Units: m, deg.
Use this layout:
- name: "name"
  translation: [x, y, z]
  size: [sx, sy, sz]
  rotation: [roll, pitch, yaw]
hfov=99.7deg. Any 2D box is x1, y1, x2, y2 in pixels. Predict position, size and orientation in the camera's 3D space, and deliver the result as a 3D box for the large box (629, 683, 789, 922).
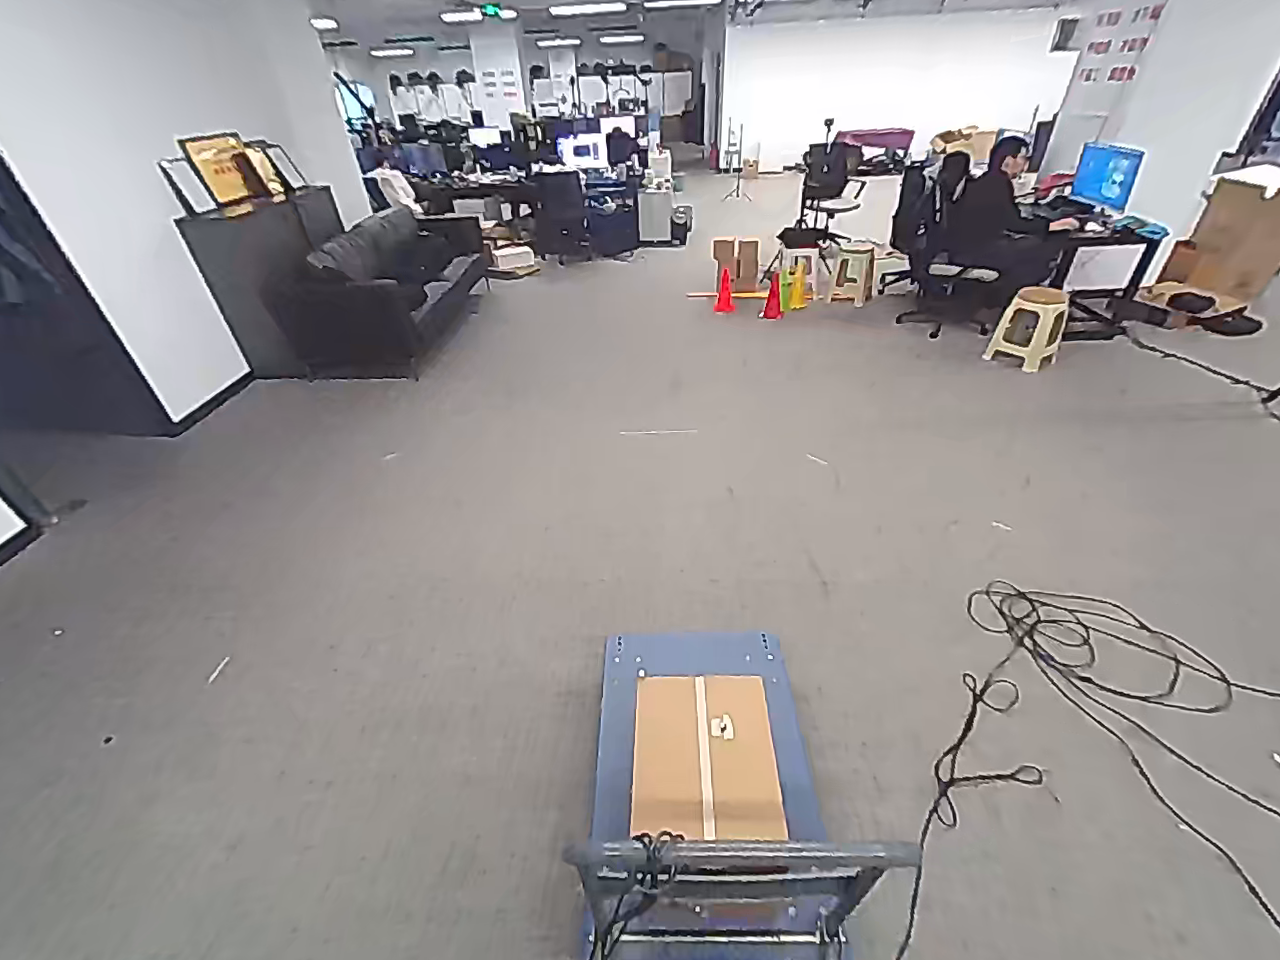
- name: "large box"
  translation: [0.145, 0.748, 1.276]
  size: [0.320, 0.320, 0.408]
  rotation: [0, 35, 3]
